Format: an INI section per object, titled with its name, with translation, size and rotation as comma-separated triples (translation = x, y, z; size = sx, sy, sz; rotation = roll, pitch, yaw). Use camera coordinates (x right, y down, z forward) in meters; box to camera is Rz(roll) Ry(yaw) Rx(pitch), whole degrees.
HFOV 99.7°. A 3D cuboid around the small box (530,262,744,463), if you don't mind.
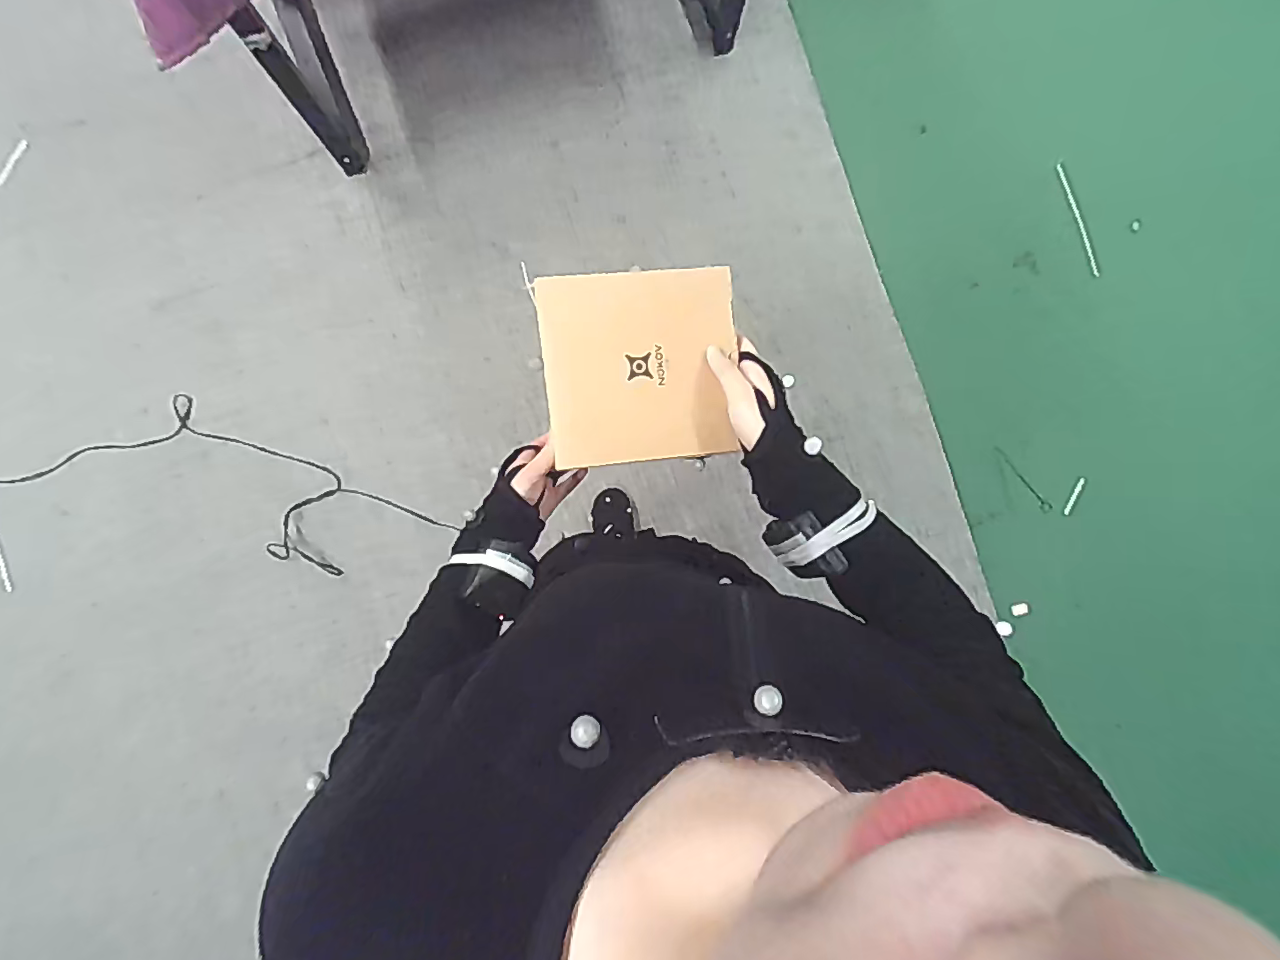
[small box]
translation = -0.010, -0.105, 0.548
size = 0.179, 0.176, 0.168
rotation = -7, 94, -9
